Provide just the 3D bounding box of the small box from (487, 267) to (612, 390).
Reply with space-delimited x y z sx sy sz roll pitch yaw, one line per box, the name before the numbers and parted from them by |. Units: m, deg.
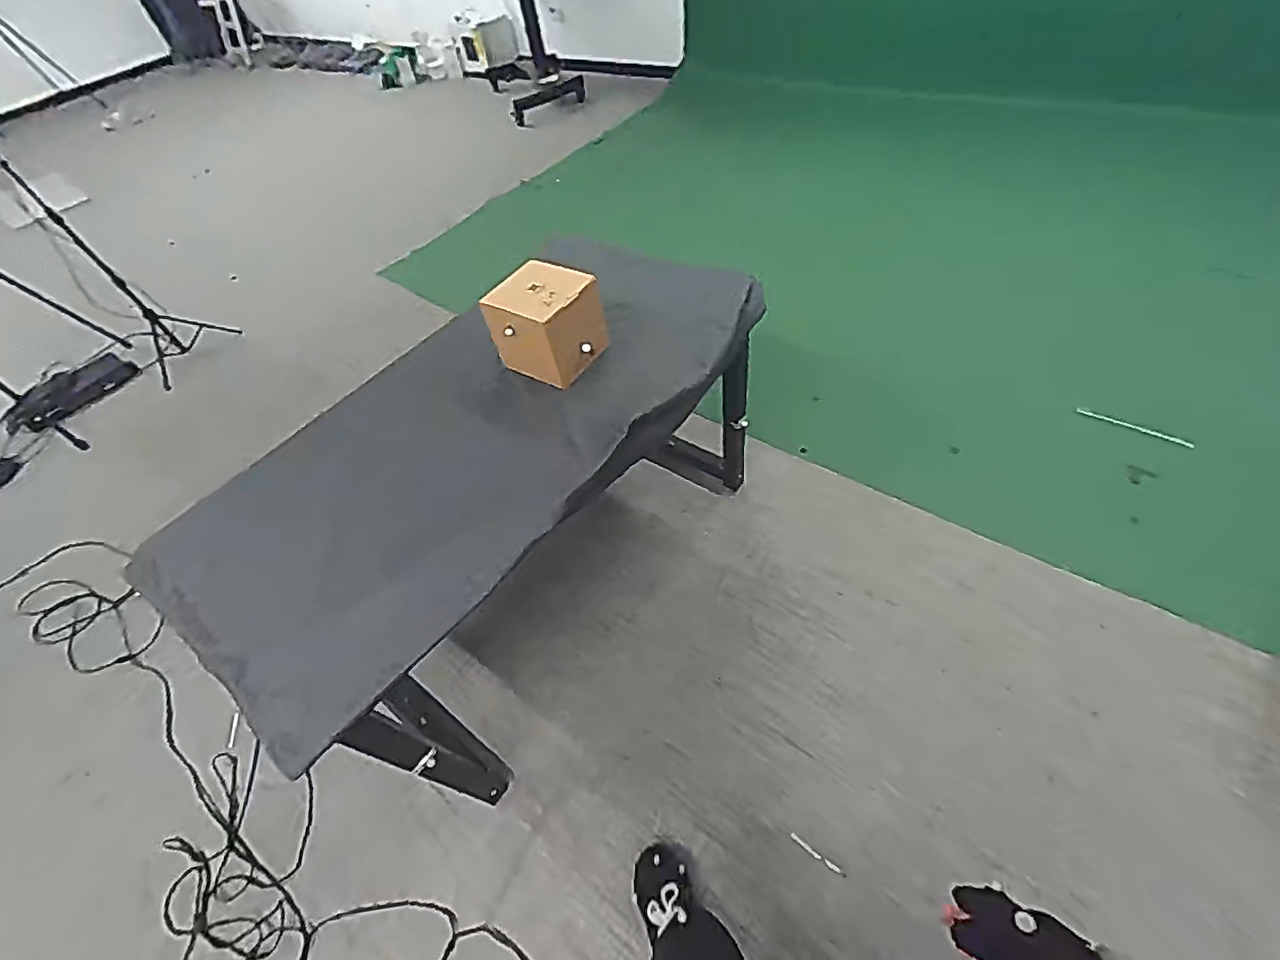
small box | -0.181 -0.315 1.137 0.179 0.176 0.168 25 60 26
